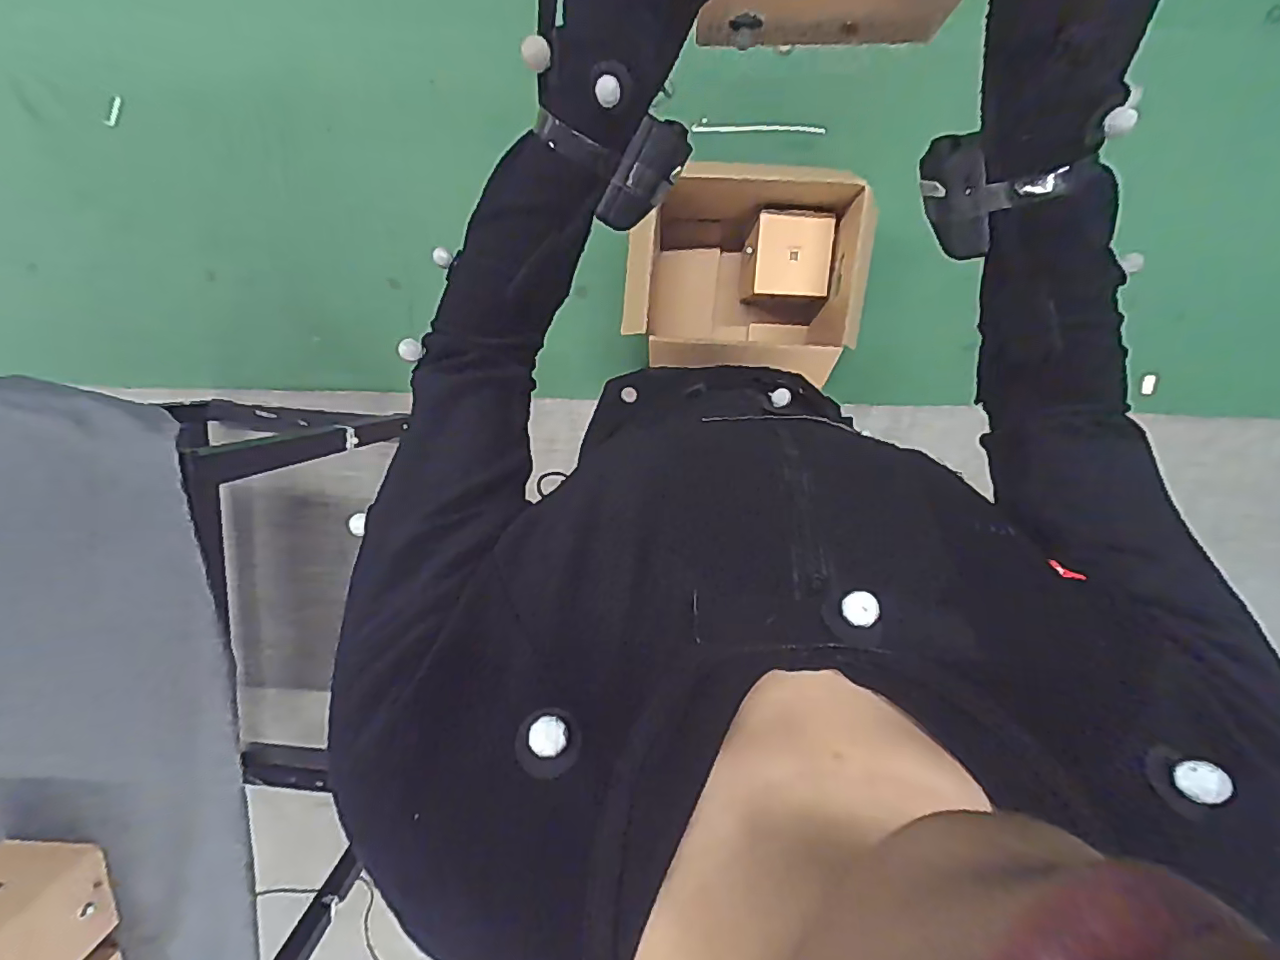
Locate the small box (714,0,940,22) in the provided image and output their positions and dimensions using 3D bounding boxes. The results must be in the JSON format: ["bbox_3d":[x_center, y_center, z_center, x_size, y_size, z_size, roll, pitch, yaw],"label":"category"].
[{"bbox_3d":[0.118,-0.382,0.283,0.168,0.176,0.179,3,105,4],"label":"small box"}]

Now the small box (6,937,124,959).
[{"bbox_3d":[-1.016,0.910,0.897,0.179,0.176,0.168,4,102,2],"label":"small box"}]
